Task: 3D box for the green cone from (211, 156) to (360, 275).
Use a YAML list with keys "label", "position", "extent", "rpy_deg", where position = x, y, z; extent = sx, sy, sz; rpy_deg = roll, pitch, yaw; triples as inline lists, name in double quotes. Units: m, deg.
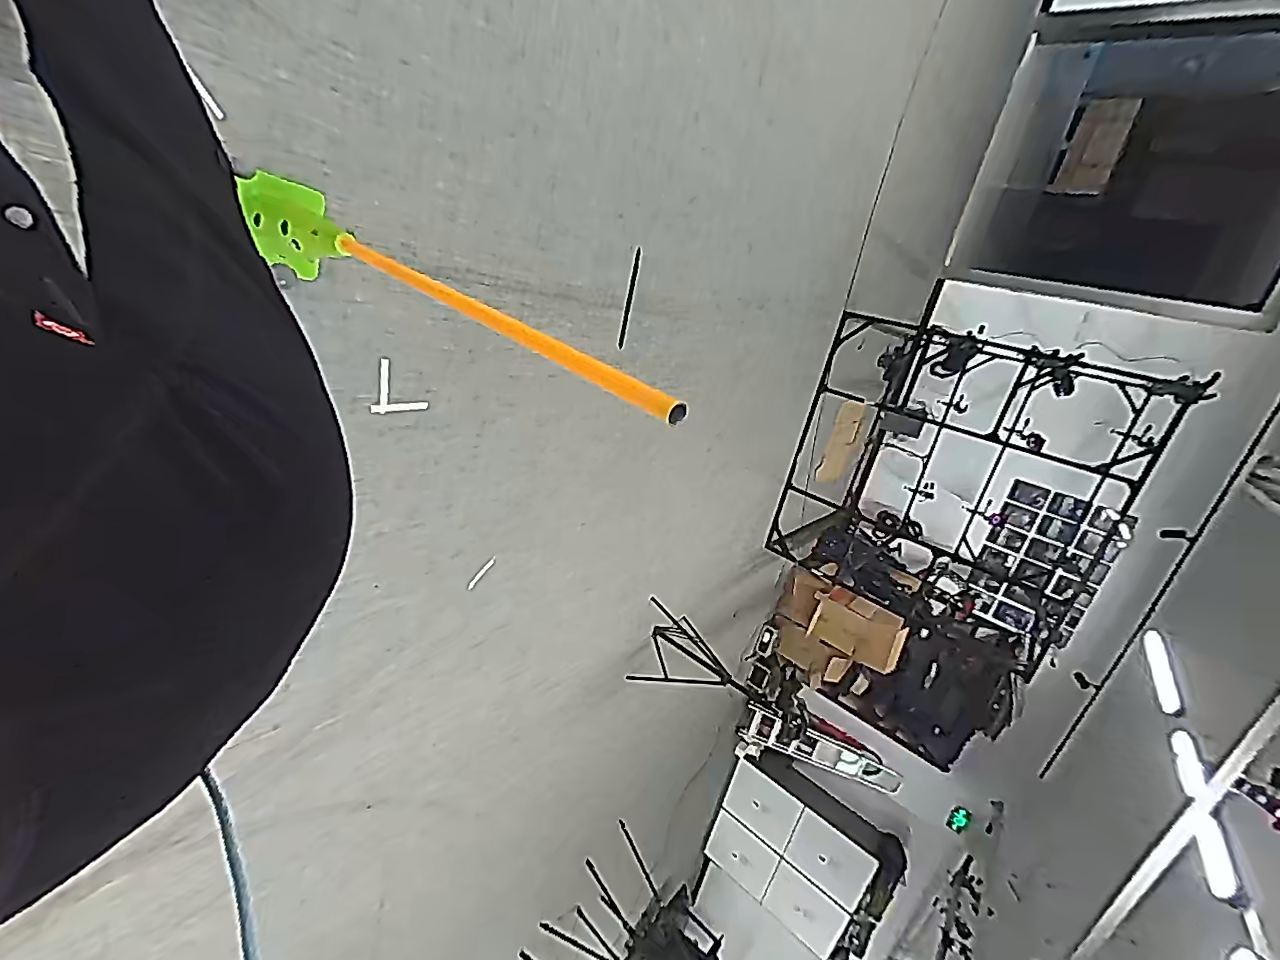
- label: "green cone"
  position: [-0.685, -0.507, 1.099]
  extent: [0.202, 0.368, 0.200]
  rpy_deg: [-7, 118, -55]
